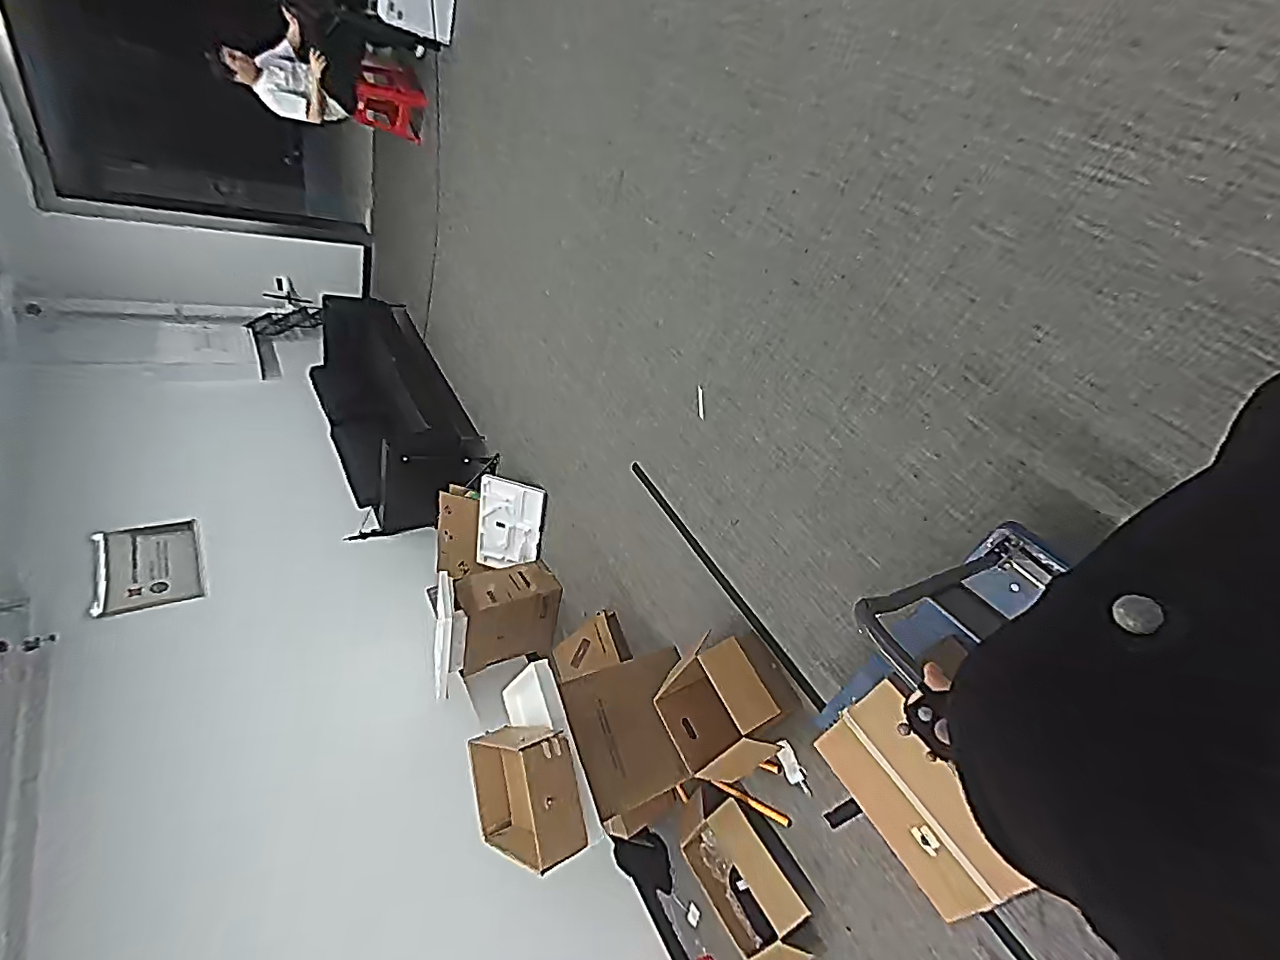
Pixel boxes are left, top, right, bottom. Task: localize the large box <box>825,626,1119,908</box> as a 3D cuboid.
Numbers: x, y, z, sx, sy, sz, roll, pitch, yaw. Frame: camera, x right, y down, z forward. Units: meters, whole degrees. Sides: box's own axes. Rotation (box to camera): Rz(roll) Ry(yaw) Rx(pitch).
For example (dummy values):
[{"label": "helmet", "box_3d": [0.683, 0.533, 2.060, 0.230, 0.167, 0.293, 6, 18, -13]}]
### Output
[{"label": "large box", "box_3d": [0.717, 0.611, 1.210, 0.408, 0.320, 0.320, 50, 135, 33]}]
